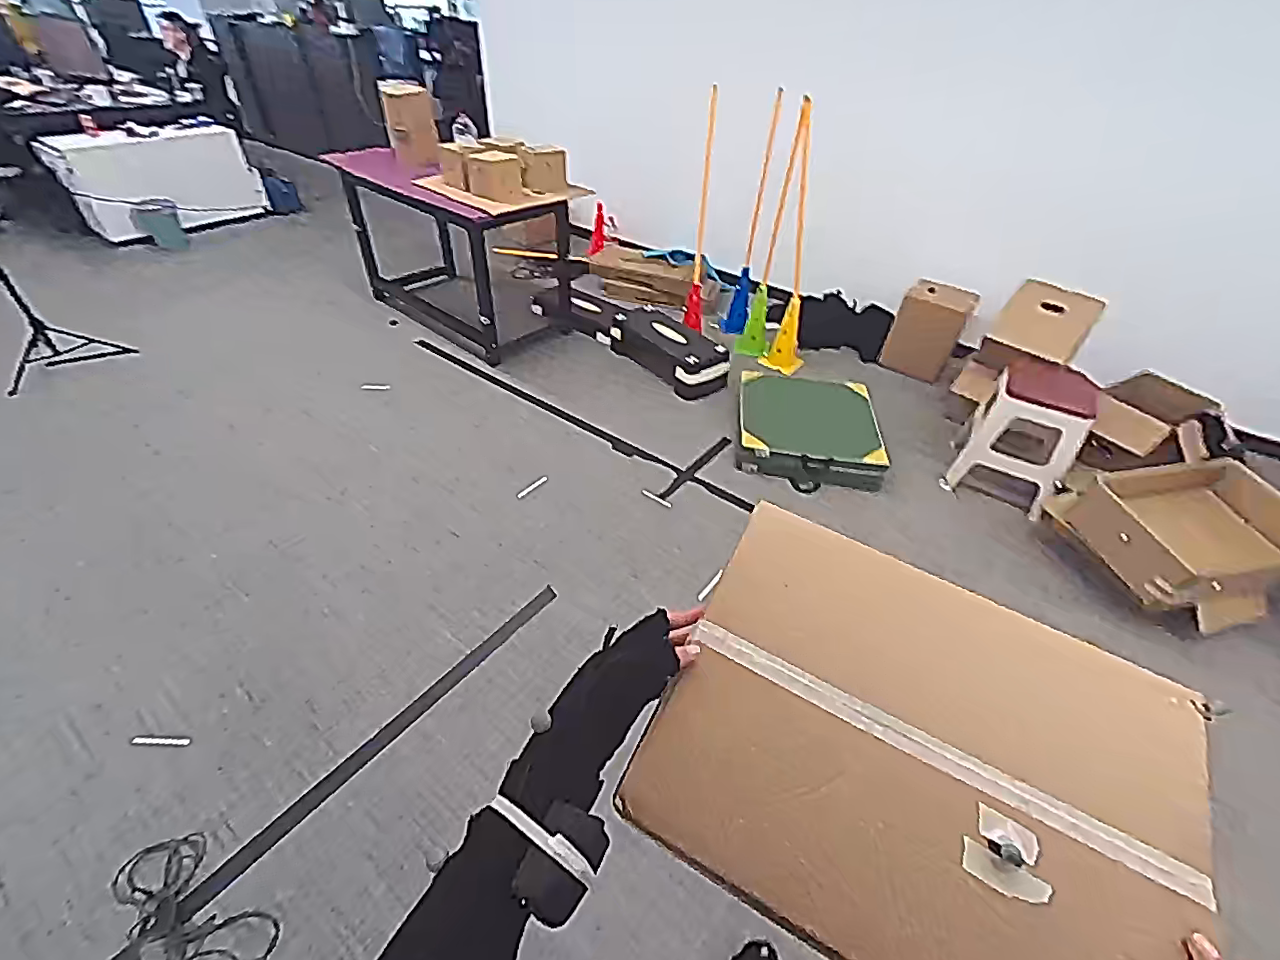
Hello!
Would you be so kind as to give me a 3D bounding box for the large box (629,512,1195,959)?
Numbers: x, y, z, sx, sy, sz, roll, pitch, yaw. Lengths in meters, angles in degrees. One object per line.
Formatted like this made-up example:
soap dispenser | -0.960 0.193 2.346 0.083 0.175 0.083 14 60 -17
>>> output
large box | 0.232 0.302 0.577 0.408 0.320 0.320 25 61 14
